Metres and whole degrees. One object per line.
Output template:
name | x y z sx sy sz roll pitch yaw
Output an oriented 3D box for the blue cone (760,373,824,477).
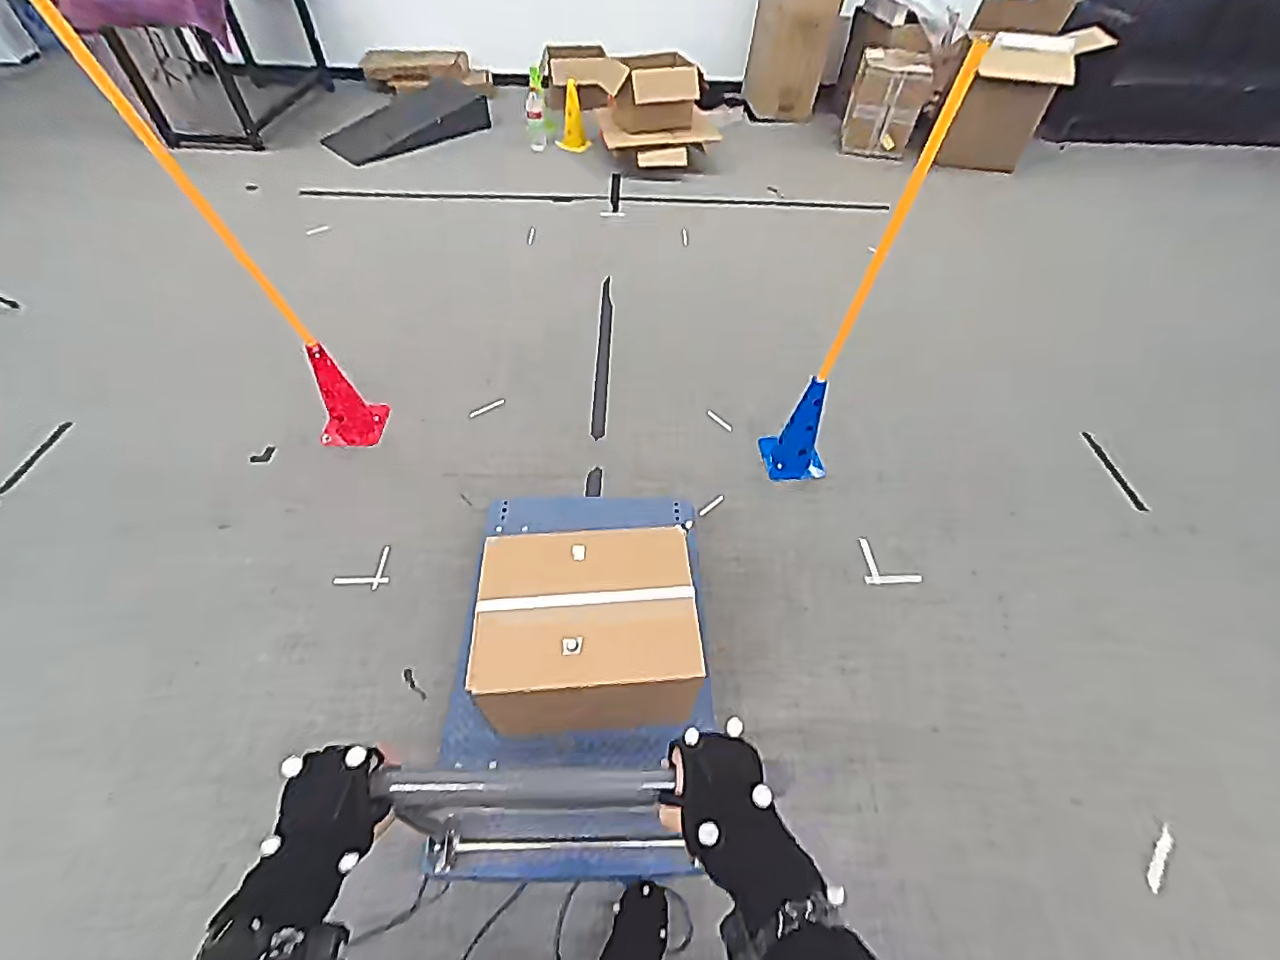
blue cone | 0.537 -0.187 1.775 0.193 0.380 0.192 -2 50 -5
